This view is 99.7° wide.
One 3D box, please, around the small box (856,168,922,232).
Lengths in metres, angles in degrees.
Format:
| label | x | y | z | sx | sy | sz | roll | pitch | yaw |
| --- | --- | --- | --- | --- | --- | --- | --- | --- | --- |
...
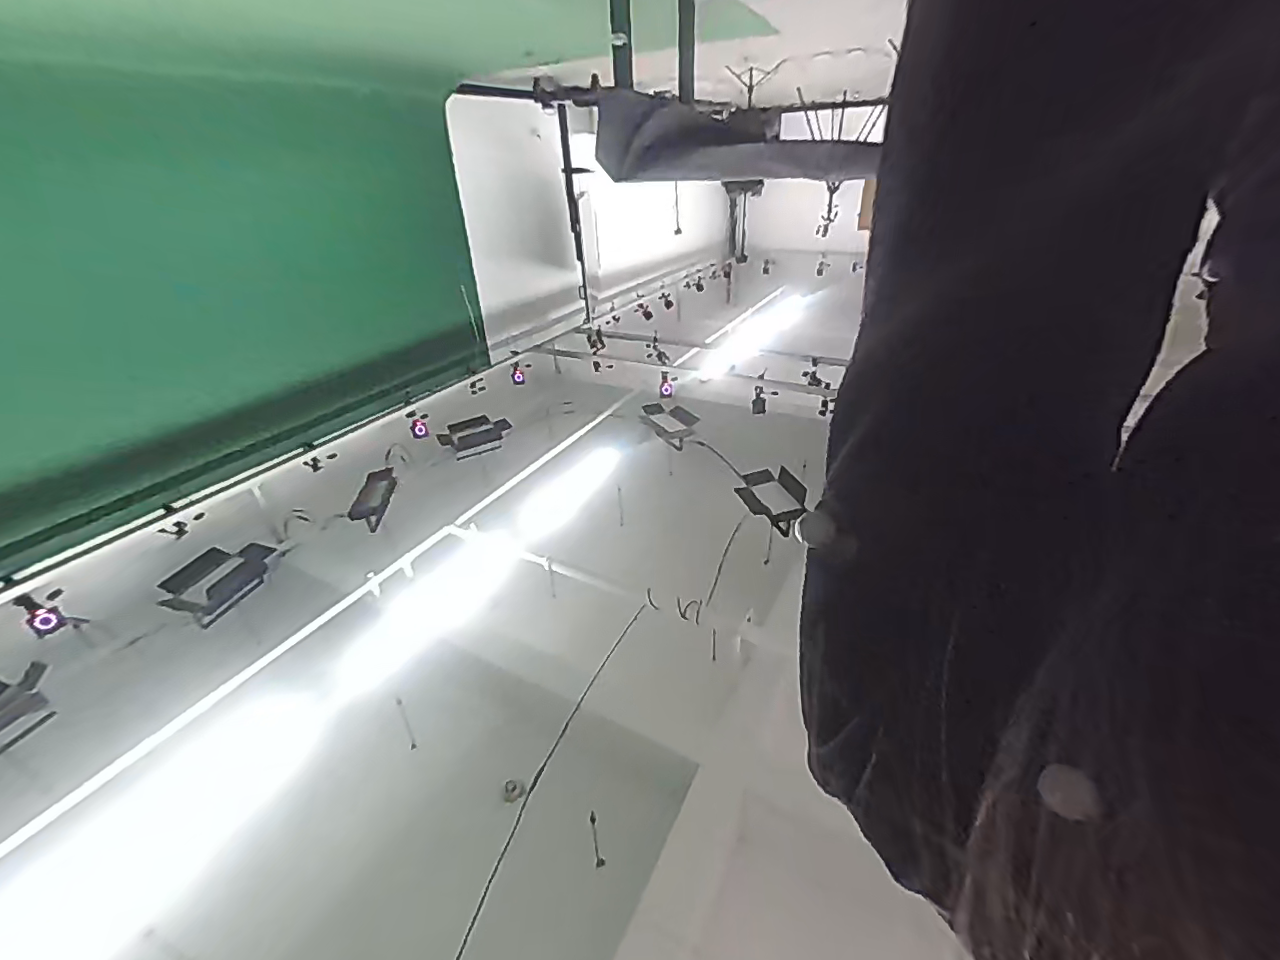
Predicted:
| label | x | y | z | sx | sy | sz | roll | pitch | yaw |
| --- | --- | --- | --- | --- | --- | --- | --- | --- | --- |
| small box | 0.814 | -0.917 | 1.769 | 0.168 | 0.176 | 0.179 | 13 | -144 | 22 |
